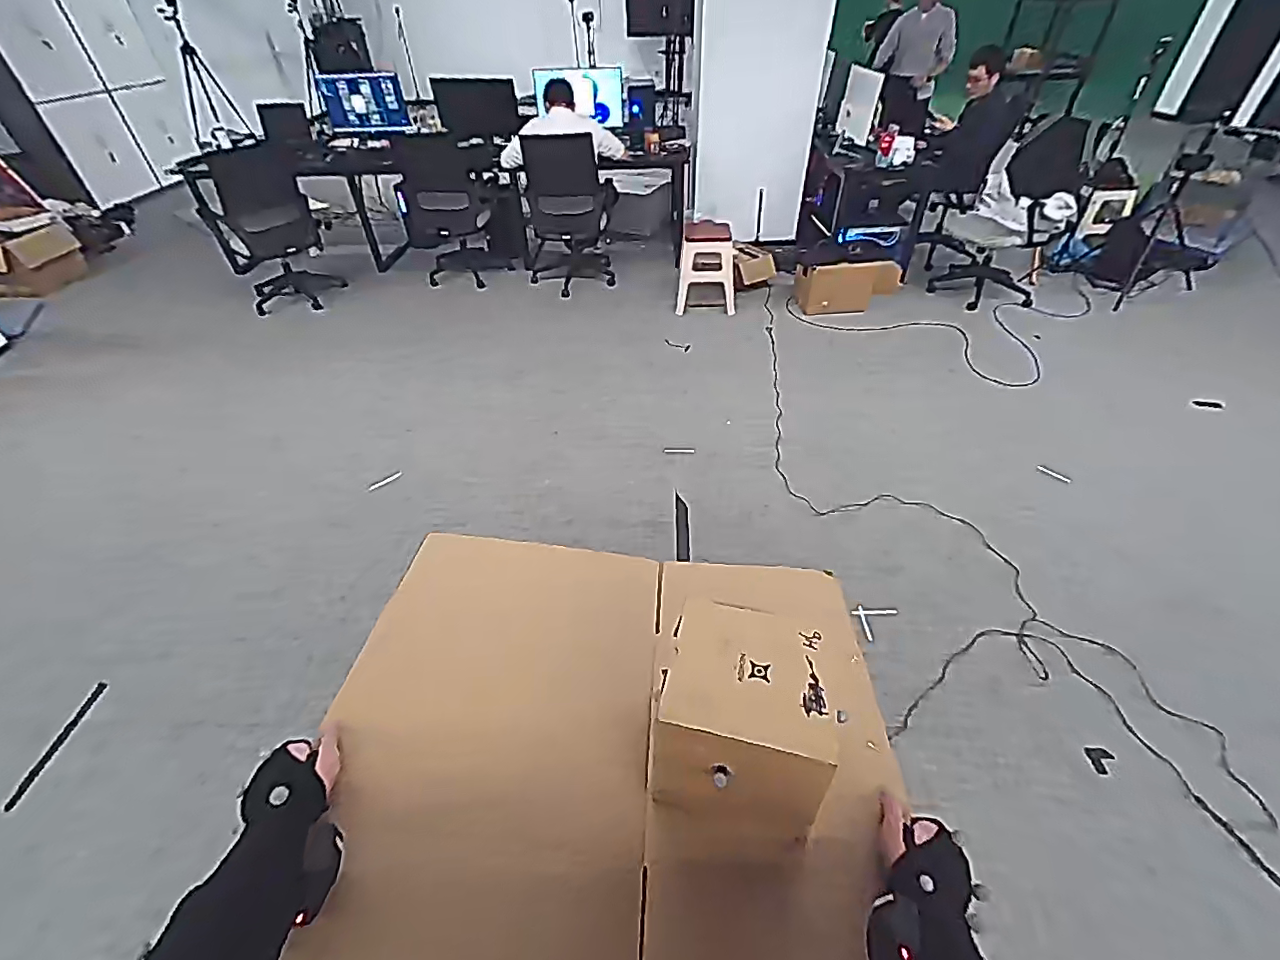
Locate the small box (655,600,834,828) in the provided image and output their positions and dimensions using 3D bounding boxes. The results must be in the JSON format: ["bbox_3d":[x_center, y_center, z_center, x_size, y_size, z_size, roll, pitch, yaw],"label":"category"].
[{"bbox_3d":[0.120,0.269,0.629,0.179,0.176,0.168,8,37,12],"label":"small box"}]
